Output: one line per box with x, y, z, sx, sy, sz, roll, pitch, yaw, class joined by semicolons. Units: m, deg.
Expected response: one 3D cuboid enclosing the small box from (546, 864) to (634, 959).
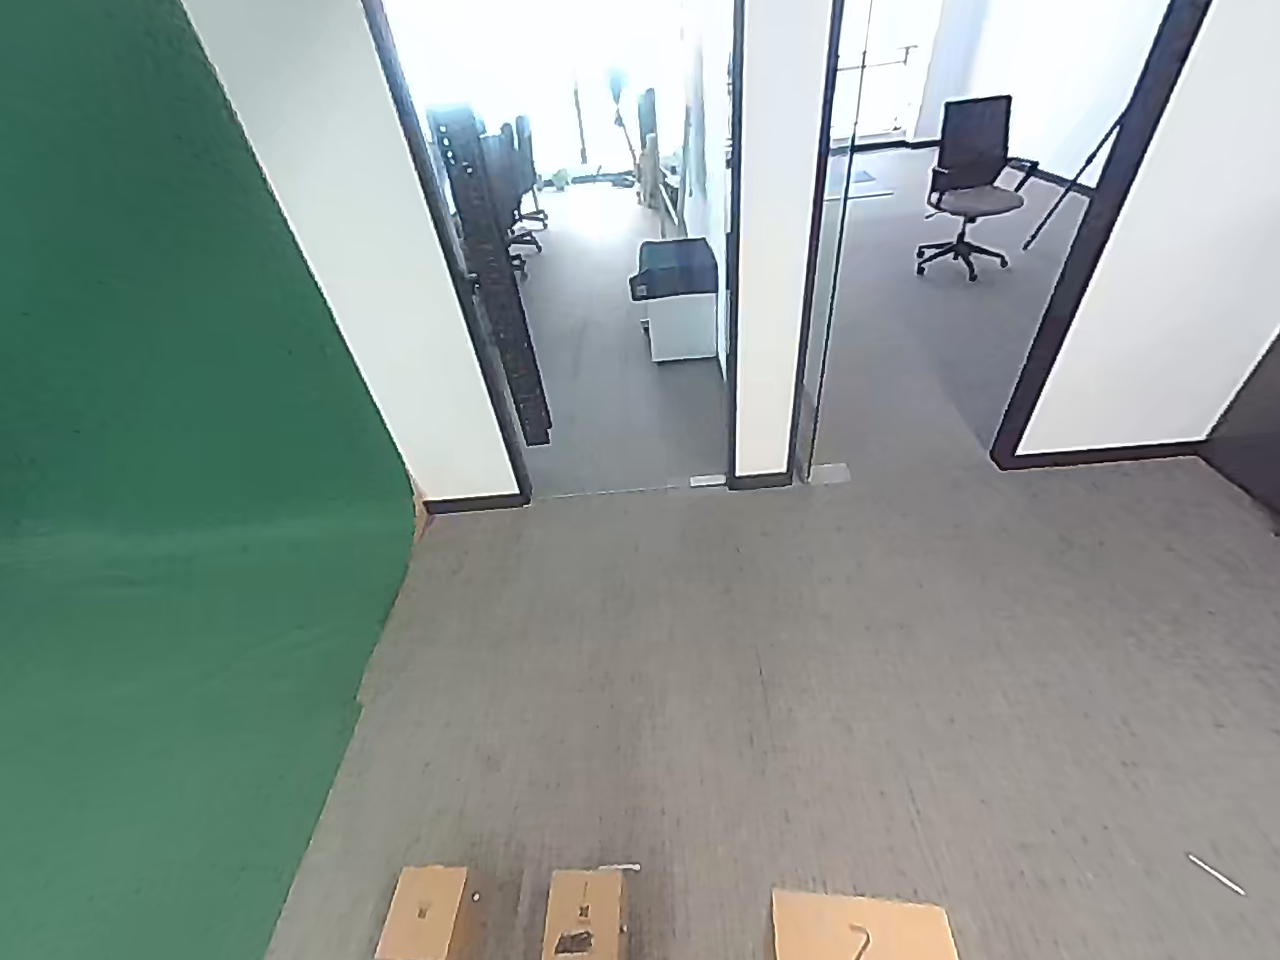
-0.107;1.024;1.257;0.168;0.176;0.179;-3;40;6;small box
